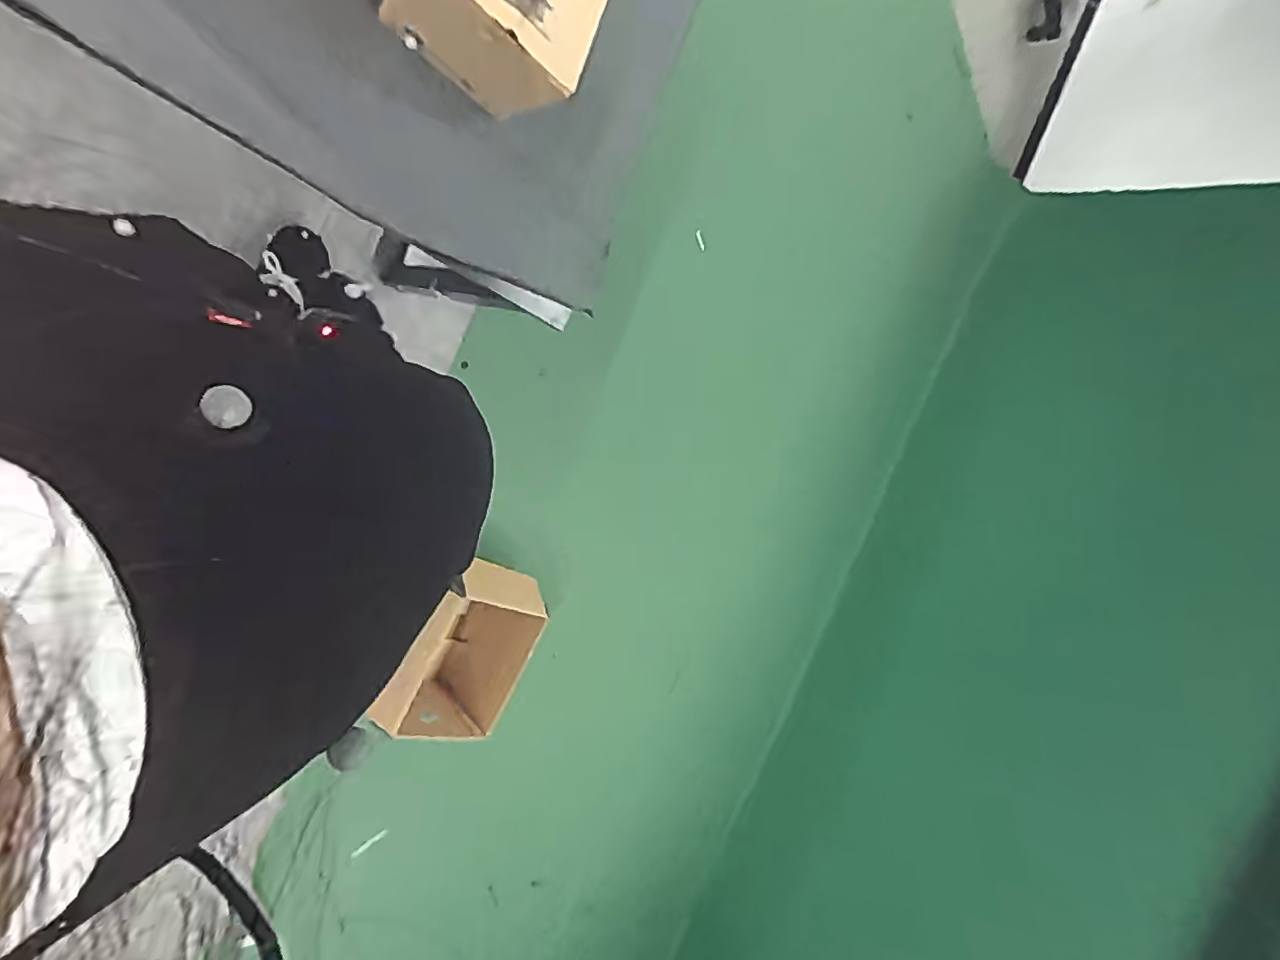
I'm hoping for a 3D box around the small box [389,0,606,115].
[{"bbox_3d":[-0.155,-0.550,0.601,0.168,0.176,0.179,18,94,-47],"label":"small box"}]
